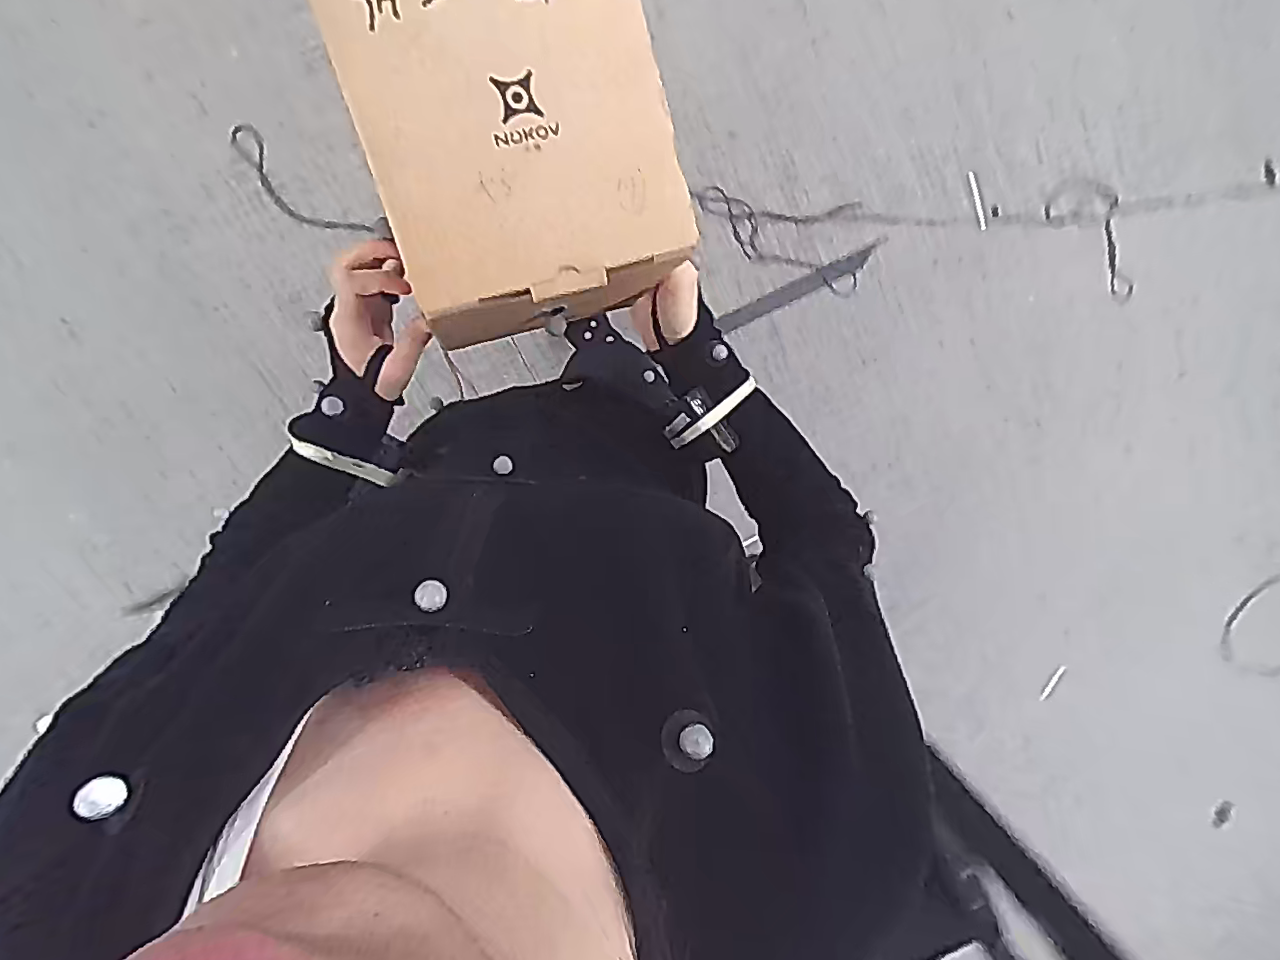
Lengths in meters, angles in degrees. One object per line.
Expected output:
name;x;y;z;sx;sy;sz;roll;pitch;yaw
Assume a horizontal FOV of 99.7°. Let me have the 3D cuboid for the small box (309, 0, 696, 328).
small box;-0.084;-0.206;0.357;0.168;0.176;0.179;-19;103;-12
